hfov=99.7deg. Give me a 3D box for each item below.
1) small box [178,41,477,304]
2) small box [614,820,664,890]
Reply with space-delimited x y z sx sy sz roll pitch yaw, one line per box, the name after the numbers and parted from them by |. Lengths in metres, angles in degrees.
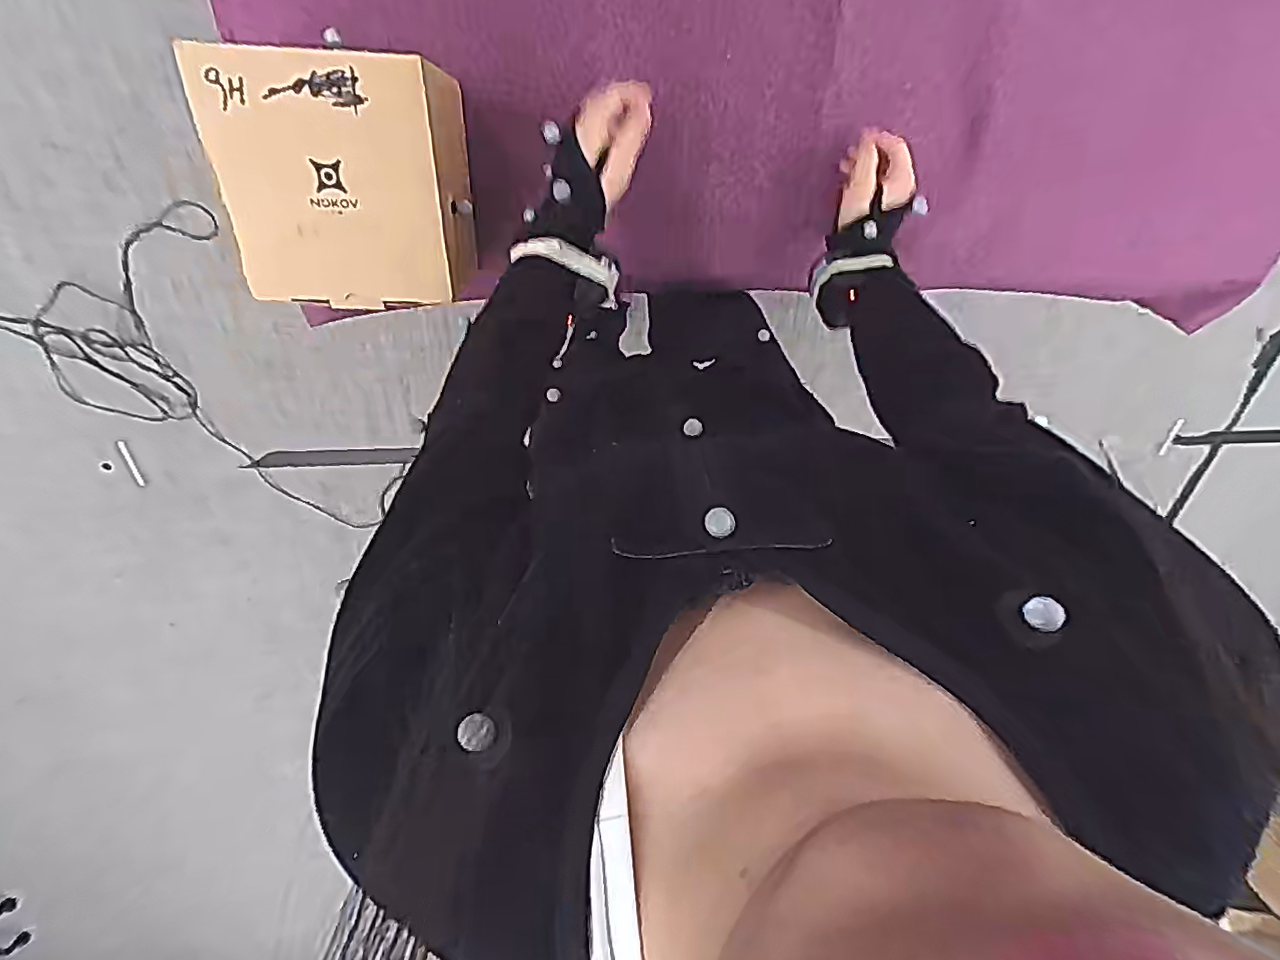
-0.250 -0.271 0.491 0.168 0.176 0.179 -2 122 -7 | small box
-0.007 1.442 2.086 0.179 0.176 0.168 -2 121 -5 | small box
